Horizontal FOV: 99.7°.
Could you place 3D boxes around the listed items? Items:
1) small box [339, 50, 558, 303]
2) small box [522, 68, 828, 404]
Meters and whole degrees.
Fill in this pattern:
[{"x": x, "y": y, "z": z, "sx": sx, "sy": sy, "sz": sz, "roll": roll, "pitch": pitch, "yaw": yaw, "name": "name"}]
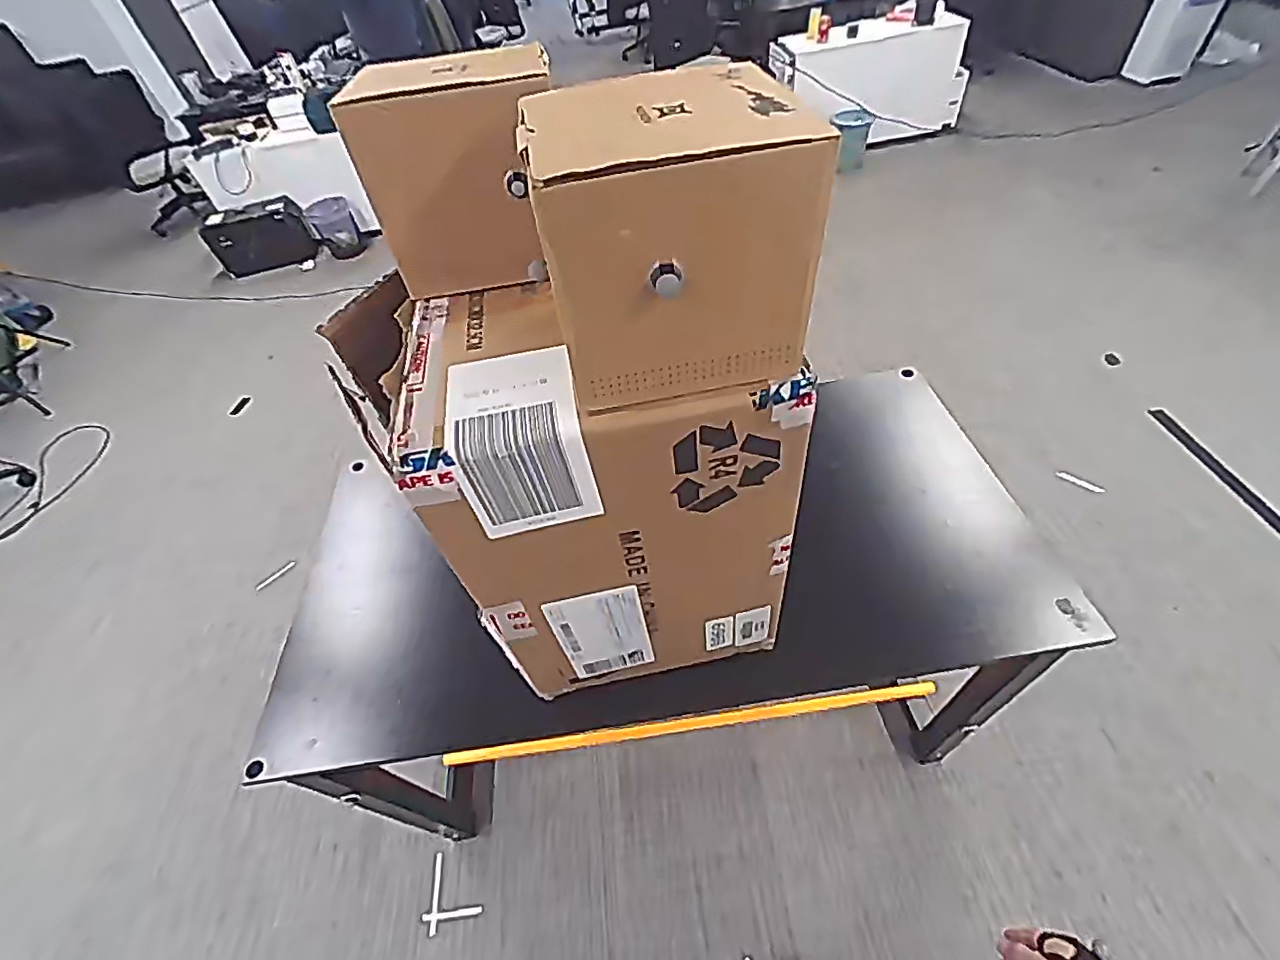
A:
[{"x": -0.159, "y": -0.302, "z": 0.544, "sx": 0.179, "sy": 0.176, "sz": 0.168, "roll": -11, "pitch": 46, "yaw": -2, "name": "small box"}, {"x": 0.019, "y": -0.179, "z": 0.413, "sx": 0.179, "sy": 0.176, "sz": 0.168, "roll": -11, "pitch": 51, "yaw": -2, "name": "small box"}]
